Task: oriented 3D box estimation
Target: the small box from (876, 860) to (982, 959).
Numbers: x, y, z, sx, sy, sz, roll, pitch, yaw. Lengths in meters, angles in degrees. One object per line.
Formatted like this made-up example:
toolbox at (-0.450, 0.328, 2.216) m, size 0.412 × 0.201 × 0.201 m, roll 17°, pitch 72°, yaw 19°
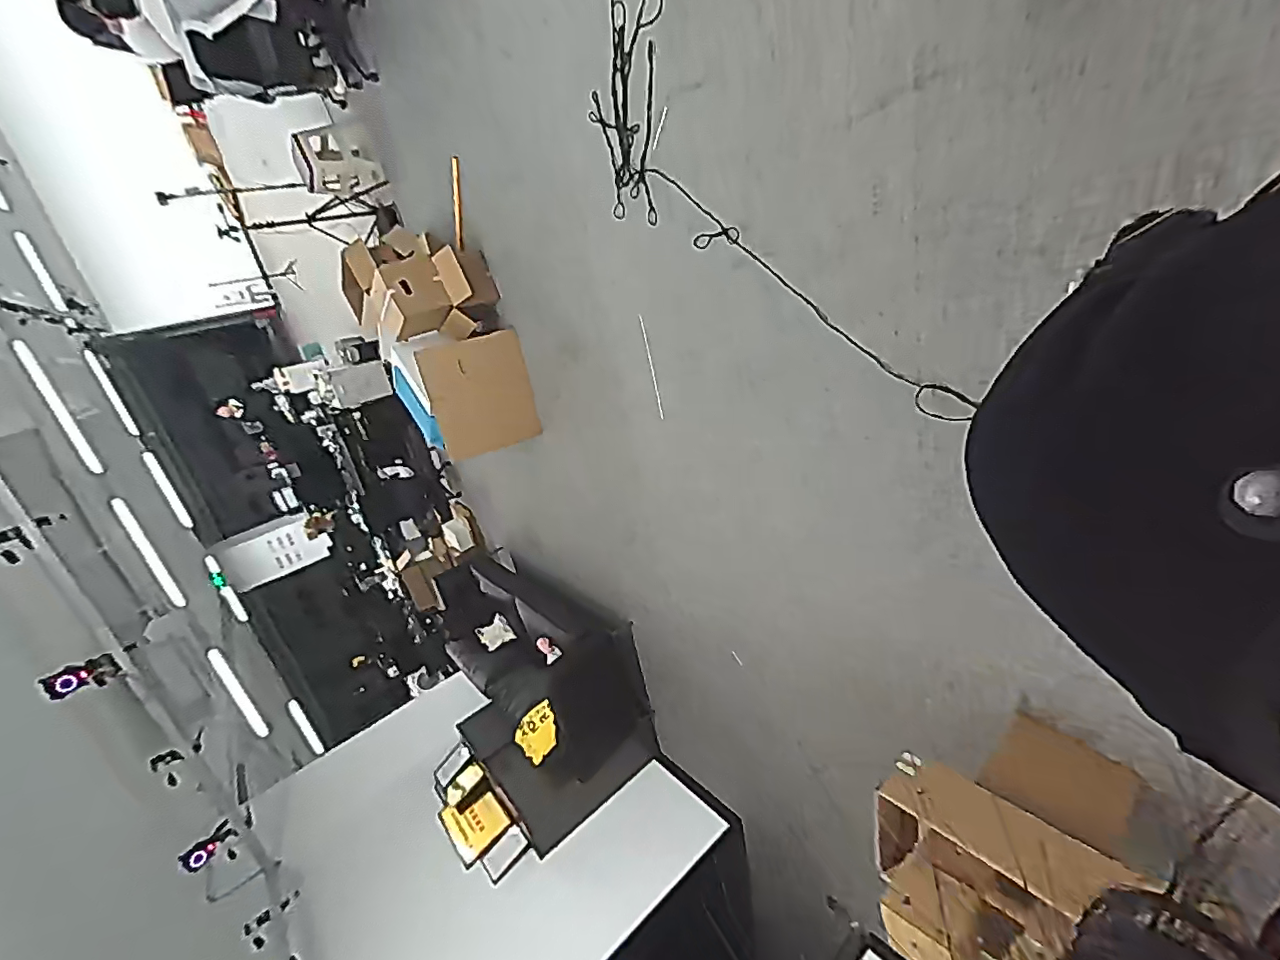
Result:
small box at (0.730, 1.114, 1.367) m, size 0.179 × 0.176 × 0.168 m, roll 4°, pitch 117°, yaw 52°

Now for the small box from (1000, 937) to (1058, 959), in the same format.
small box at (0.897, 1.180, 1.186) m, size 0.168 × 0.176 × 0.179 m, roll -10°, pitch 104°, yaw 55°

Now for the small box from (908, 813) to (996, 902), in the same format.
small box at (0.844, 1.068, 1.482) m, size 0.168 × 0.176 × 0.179 m, roll 27°, pitch 132°, yaw 42°
